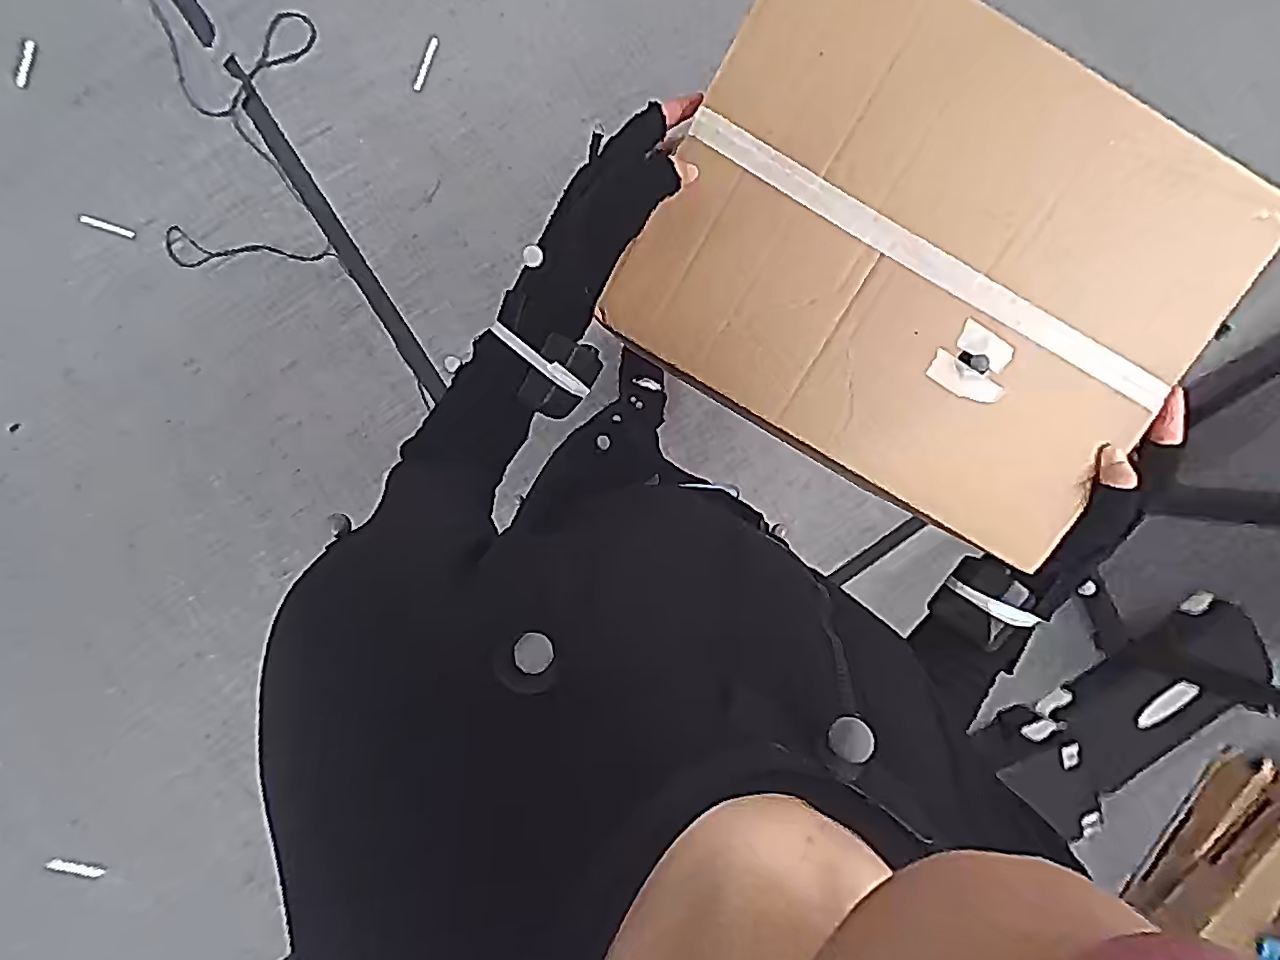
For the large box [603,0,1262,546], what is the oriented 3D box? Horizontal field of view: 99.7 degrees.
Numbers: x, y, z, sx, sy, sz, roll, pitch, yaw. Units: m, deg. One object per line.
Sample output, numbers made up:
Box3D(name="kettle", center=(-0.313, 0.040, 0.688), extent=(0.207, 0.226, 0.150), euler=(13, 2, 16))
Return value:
Box3D(name="large box", center=(0.218, -0.194, 0.559), extent=(0.408, 0.320, 0.320), euler=(30, 101, -3))
